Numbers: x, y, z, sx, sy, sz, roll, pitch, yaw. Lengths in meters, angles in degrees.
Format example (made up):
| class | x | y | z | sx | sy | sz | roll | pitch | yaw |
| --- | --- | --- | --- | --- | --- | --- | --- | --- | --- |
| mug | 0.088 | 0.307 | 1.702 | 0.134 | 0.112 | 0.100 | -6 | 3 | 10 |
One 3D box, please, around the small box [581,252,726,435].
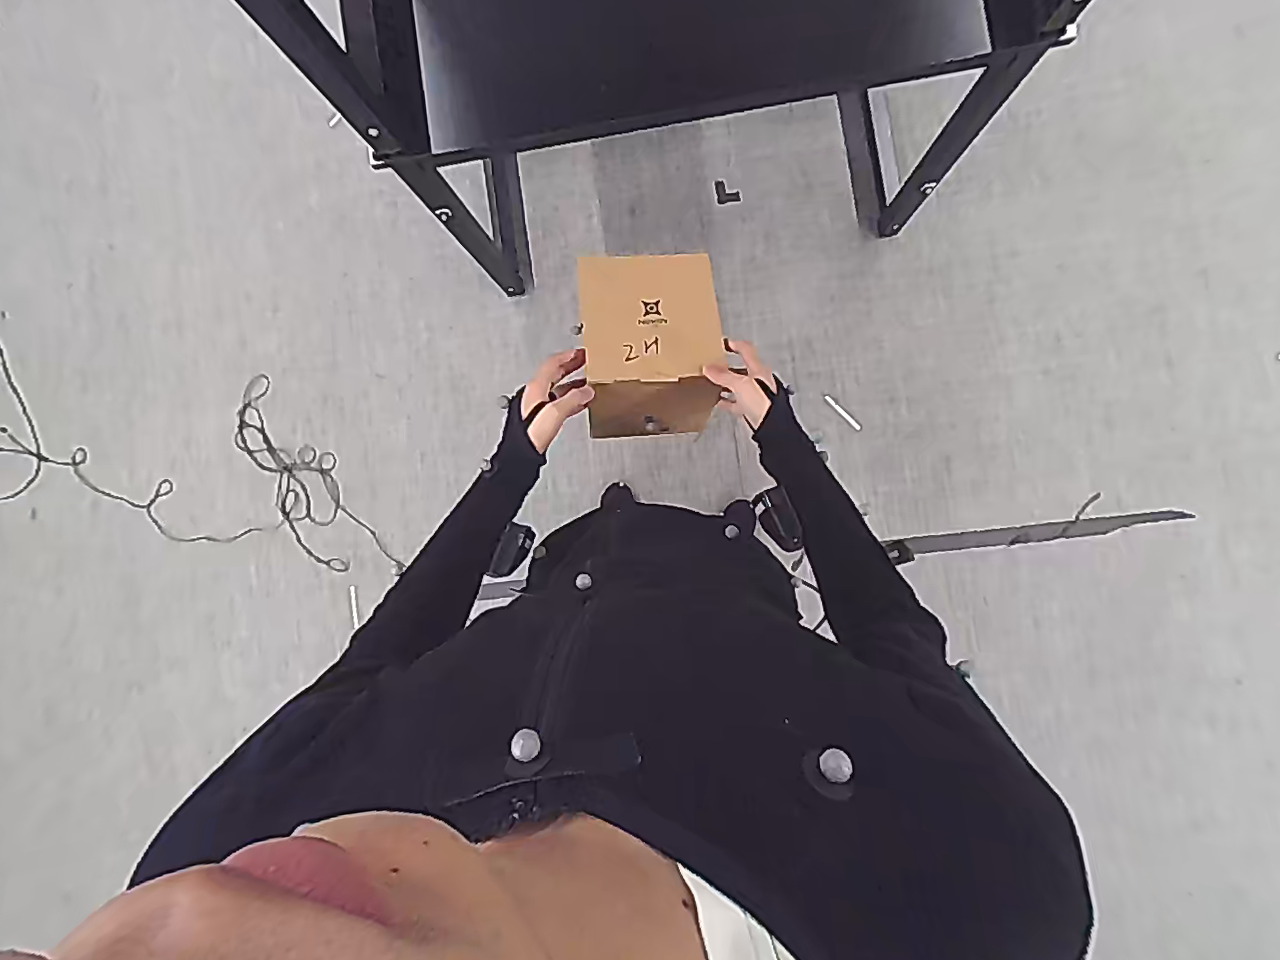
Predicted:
| class | x | y | z | sx | sy | sz | roll | pitch | yaw |
| --- | --- | --- | --- | --- | --- | --- | --- | --- | --- |
| small box | 0.007 | -0.175 | 0.720 | 0.168 | 0.176 | 0.179 | -4 | 73 | -5 |
